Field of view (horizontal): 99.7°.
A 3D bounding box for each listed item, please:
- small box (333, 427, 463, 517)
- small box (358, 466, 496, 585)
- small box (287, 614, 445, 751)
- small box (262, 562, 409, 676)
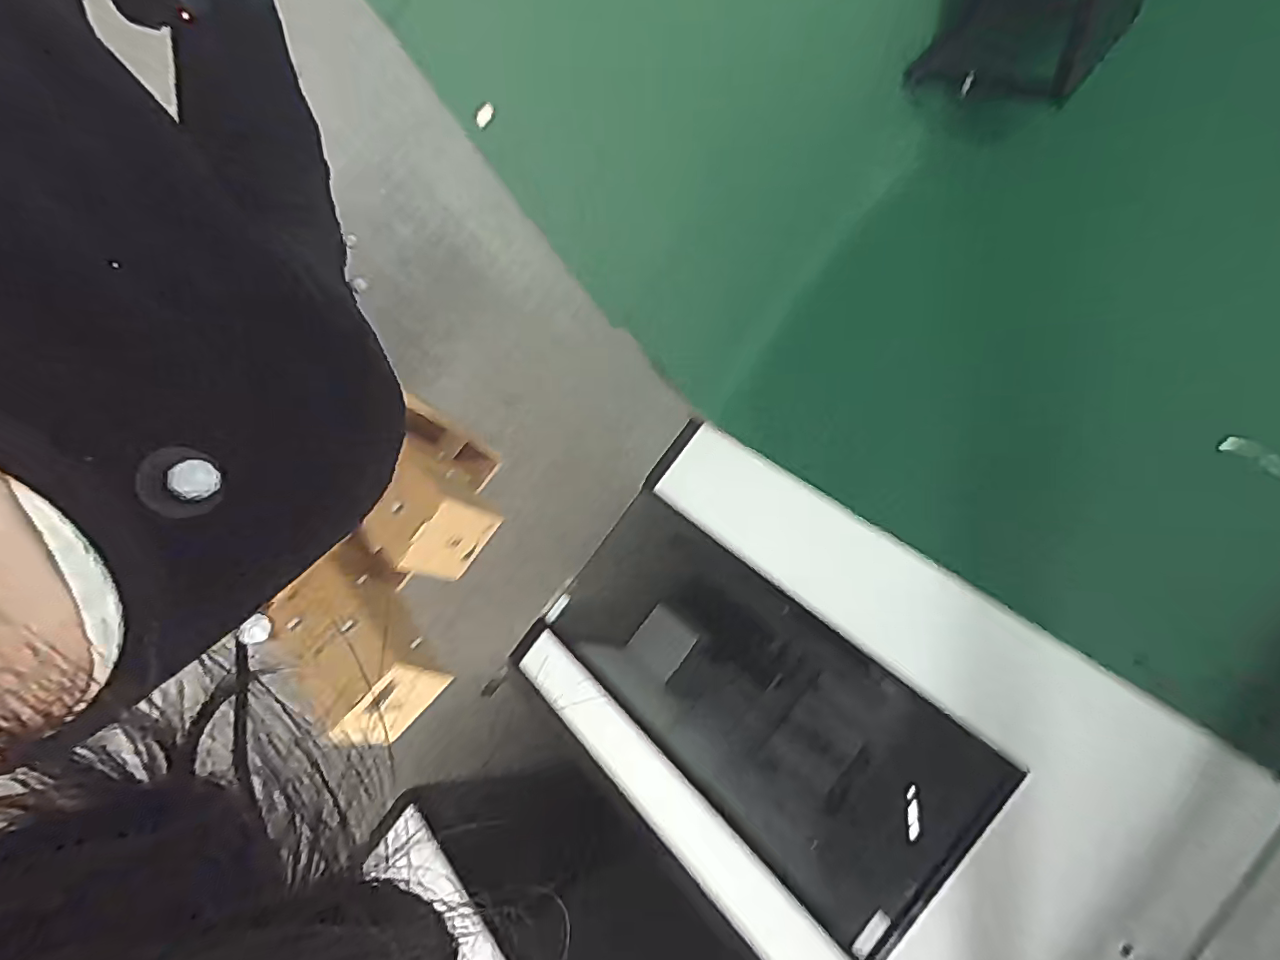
[{"bbox_3d":[-0.549,0.004,1.230,0.168,0.176,0.179,-53,149,0],"label":"small box"},{"bbox_3d":[-0.448,0.092,1.133,0.168,0.176,0.179,-52,149,0],"label":"small box"},{"bbox_3d":[-0.516,0.379,1.021,0.168,0.176,0.179,-46,149,-10],"label":"small box"},{"bbox_3d":[-0.623,0.291,1.107,0.168,0.176,0.179,-47,149,-7],"label":"small box"}]
